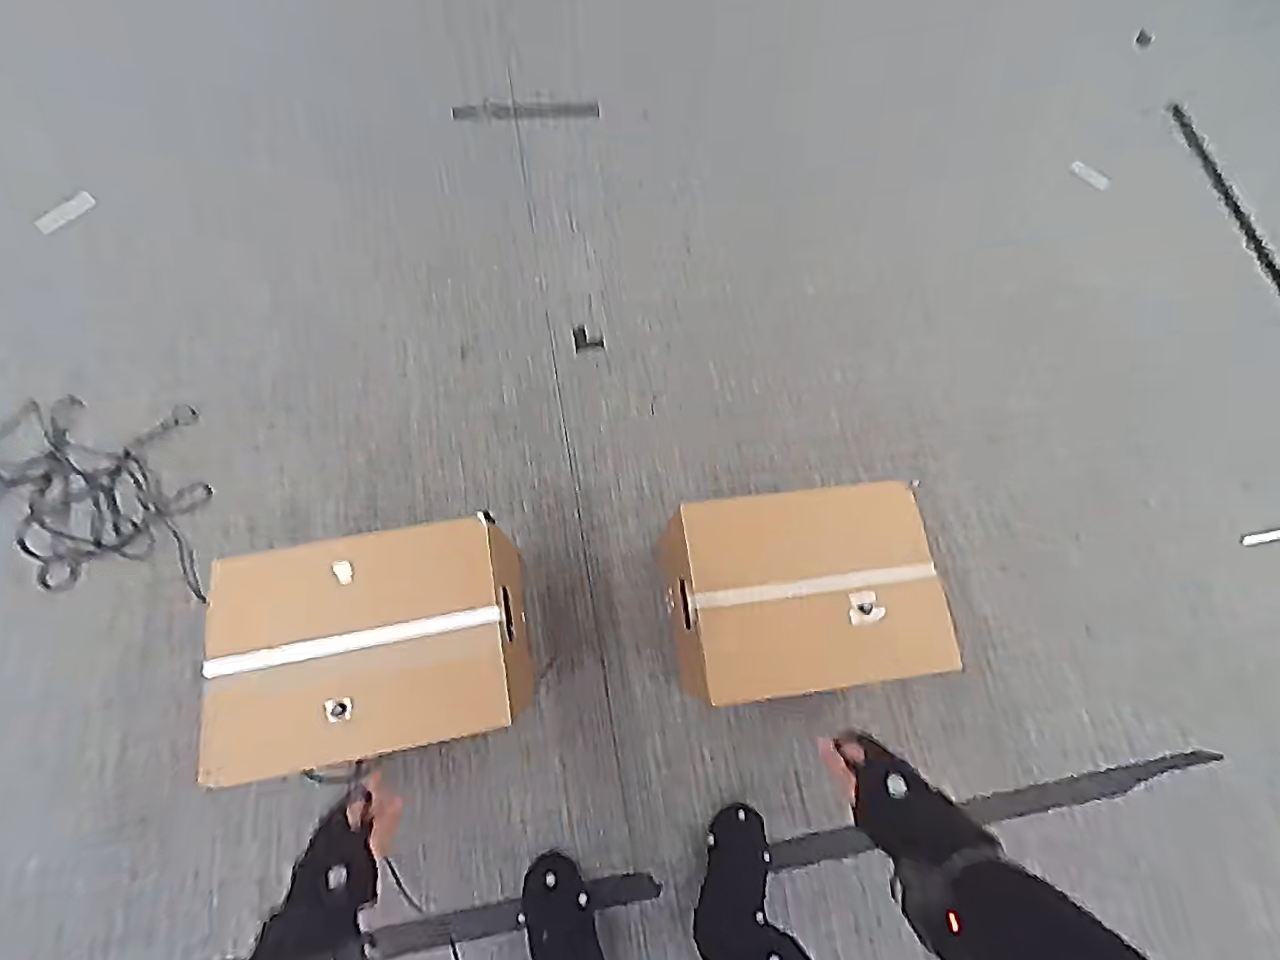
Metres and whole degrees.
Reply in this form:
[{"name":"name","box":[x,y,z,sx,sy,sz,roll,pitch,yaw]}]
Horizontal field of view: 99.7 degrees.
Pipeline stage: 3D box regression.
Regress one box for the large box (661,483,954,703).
[{"name":"large box","box":[0.272,0.216,1.018,0.408,0.320,0.320,-5,73,-7]}]
